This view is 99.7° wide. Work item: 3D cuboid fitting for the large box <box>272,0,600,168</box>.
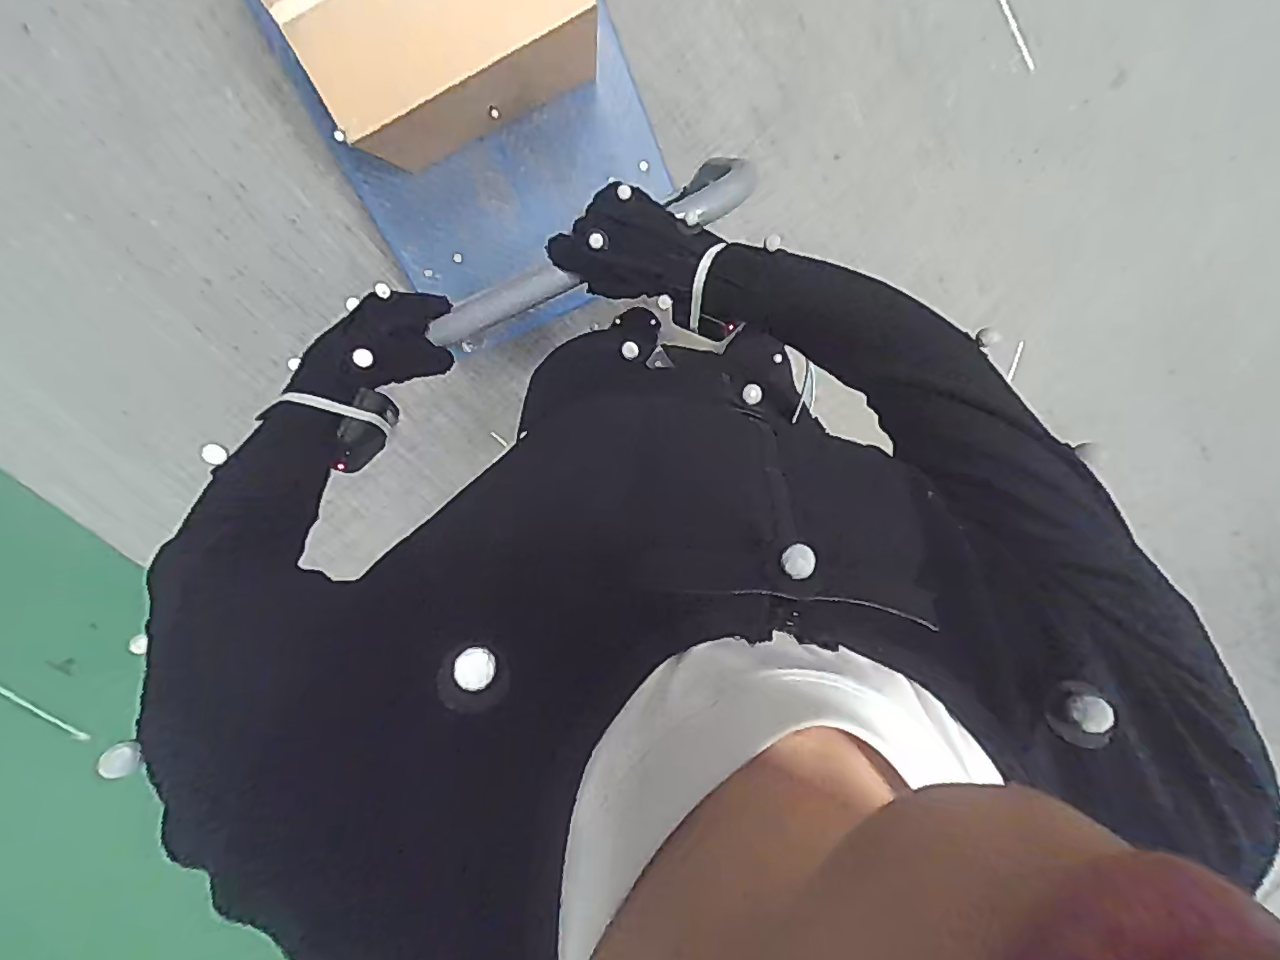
[{"bbox_3d":[-0.309,-0.756,0.845,0.408,0.320,0.320,-25,112,6],"label":"large box"}]
